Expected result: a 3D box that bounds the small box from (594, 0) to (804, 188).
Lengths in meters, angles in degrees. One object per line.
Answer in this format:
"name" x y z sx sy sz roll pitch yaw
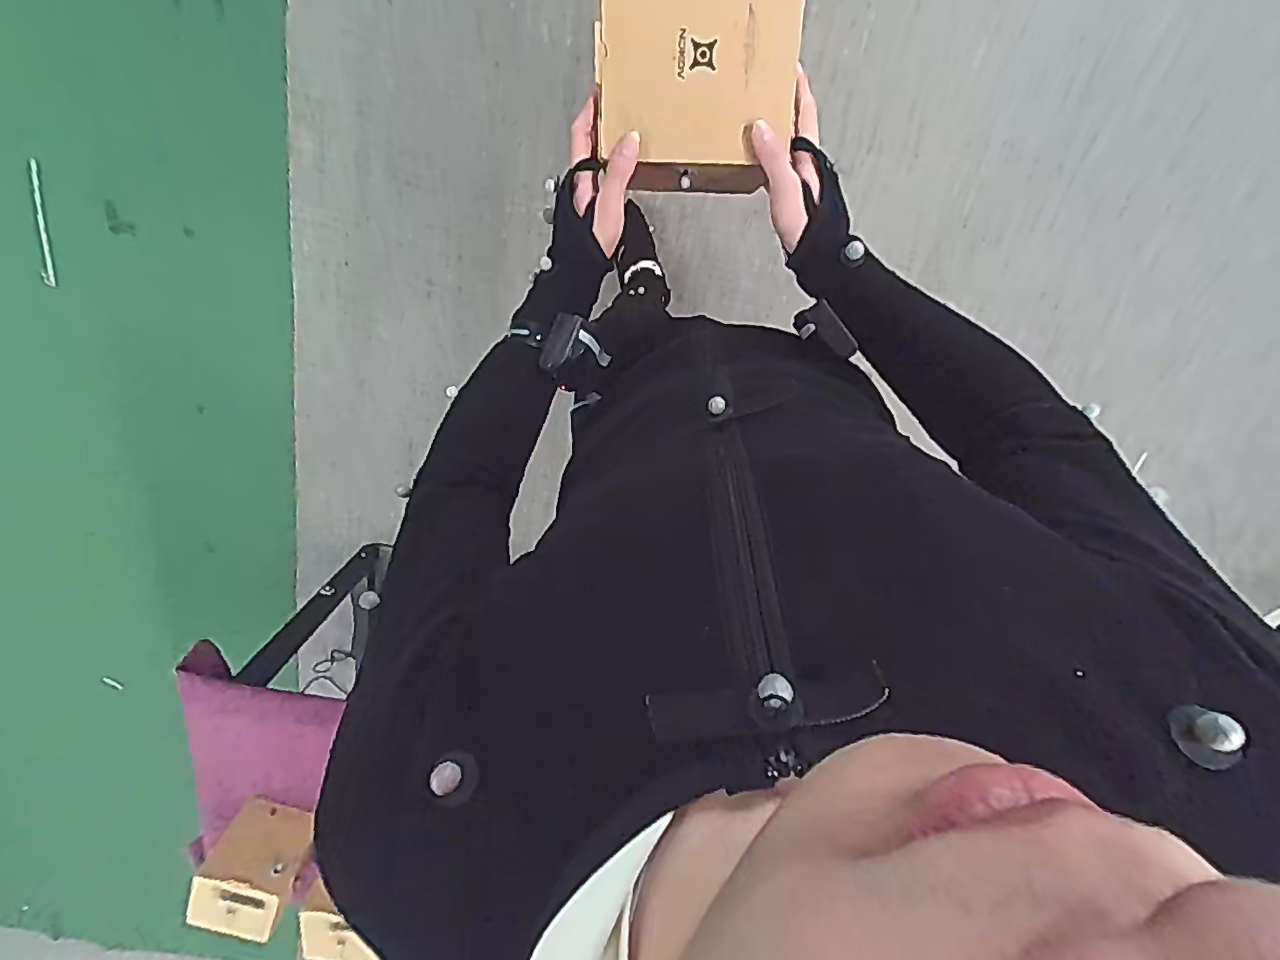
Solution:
"small box" 0.050 -0.398 0.537 0.179 0.176 0.168 2 110 0
